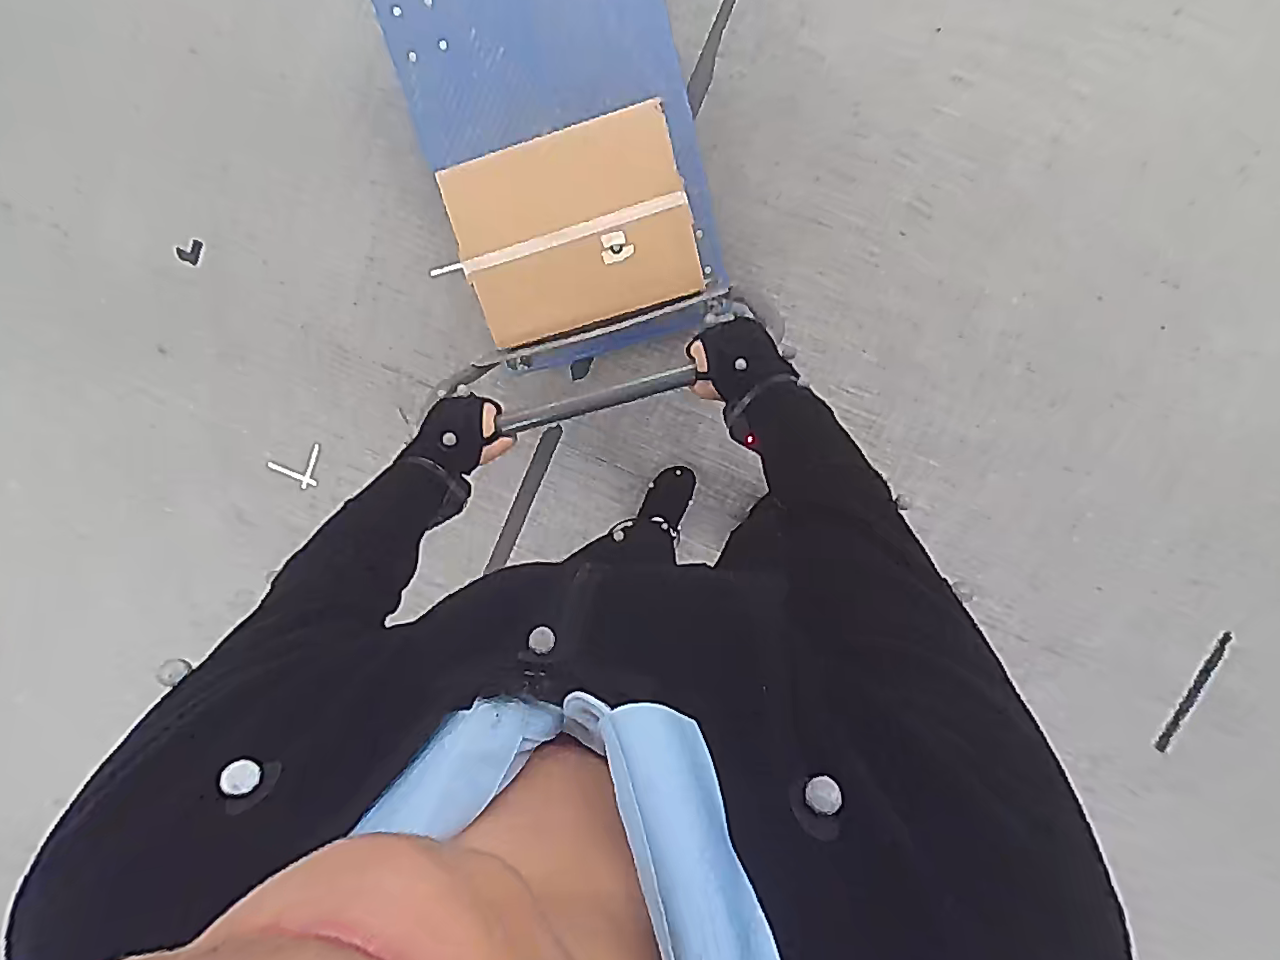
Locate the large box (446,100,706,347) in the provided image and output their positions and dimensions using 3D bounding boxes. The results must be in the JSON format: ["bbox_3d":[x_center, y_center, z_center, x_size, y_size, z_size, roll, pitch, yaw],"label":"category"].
[{"bbox_3d":[-0.110,-0.486,1.109,0.408,0.320,0.320,-16,107,5],"label":"large box"}]
